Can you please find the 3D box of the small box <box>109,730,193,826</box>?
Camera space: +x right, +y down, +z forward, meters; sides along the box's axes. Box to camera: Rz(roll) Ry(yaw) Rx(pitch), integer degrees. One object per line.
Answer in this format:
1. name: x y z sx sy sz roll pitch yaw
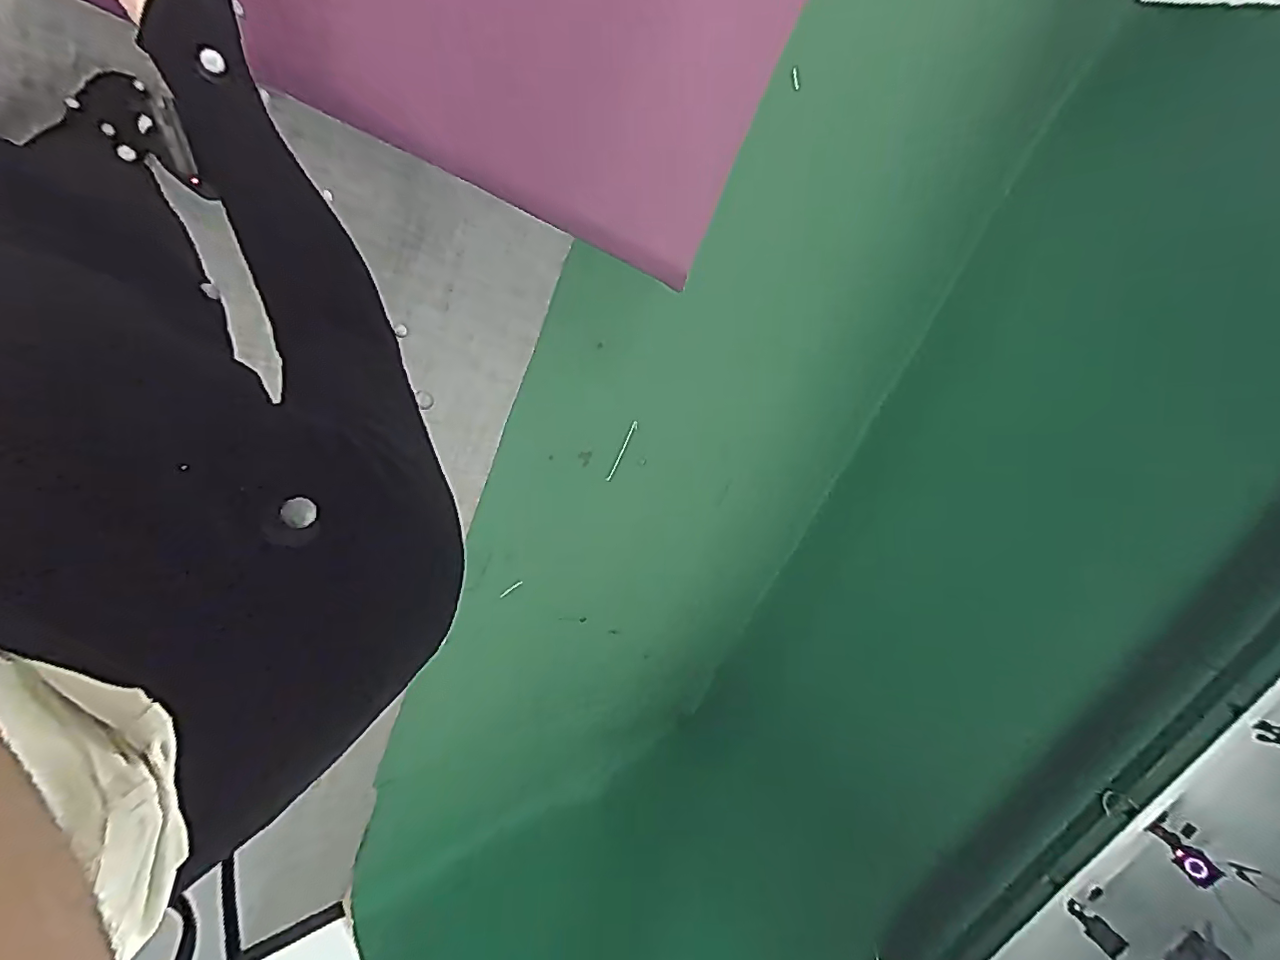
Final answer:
1. small box: -1.540 0.927 1.699 0.179 0.176 0.168 4 118 -49
